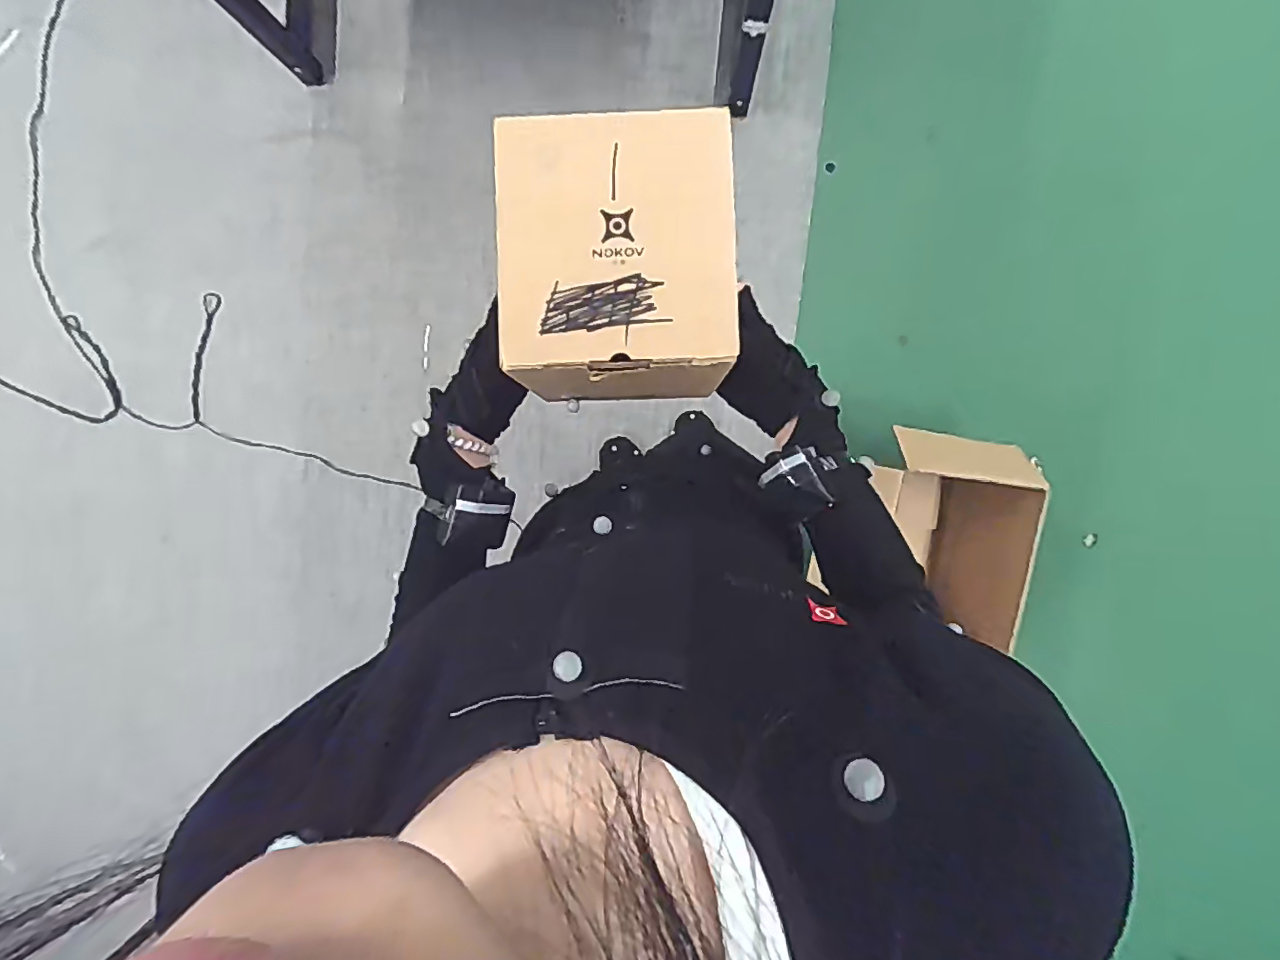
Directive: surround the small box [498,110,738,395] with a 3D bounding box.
[{"bbox_3d":[-0.013,-0.167,0.453,0.168,0.176,0.179,-2,90,0],"label":"small box"}]
